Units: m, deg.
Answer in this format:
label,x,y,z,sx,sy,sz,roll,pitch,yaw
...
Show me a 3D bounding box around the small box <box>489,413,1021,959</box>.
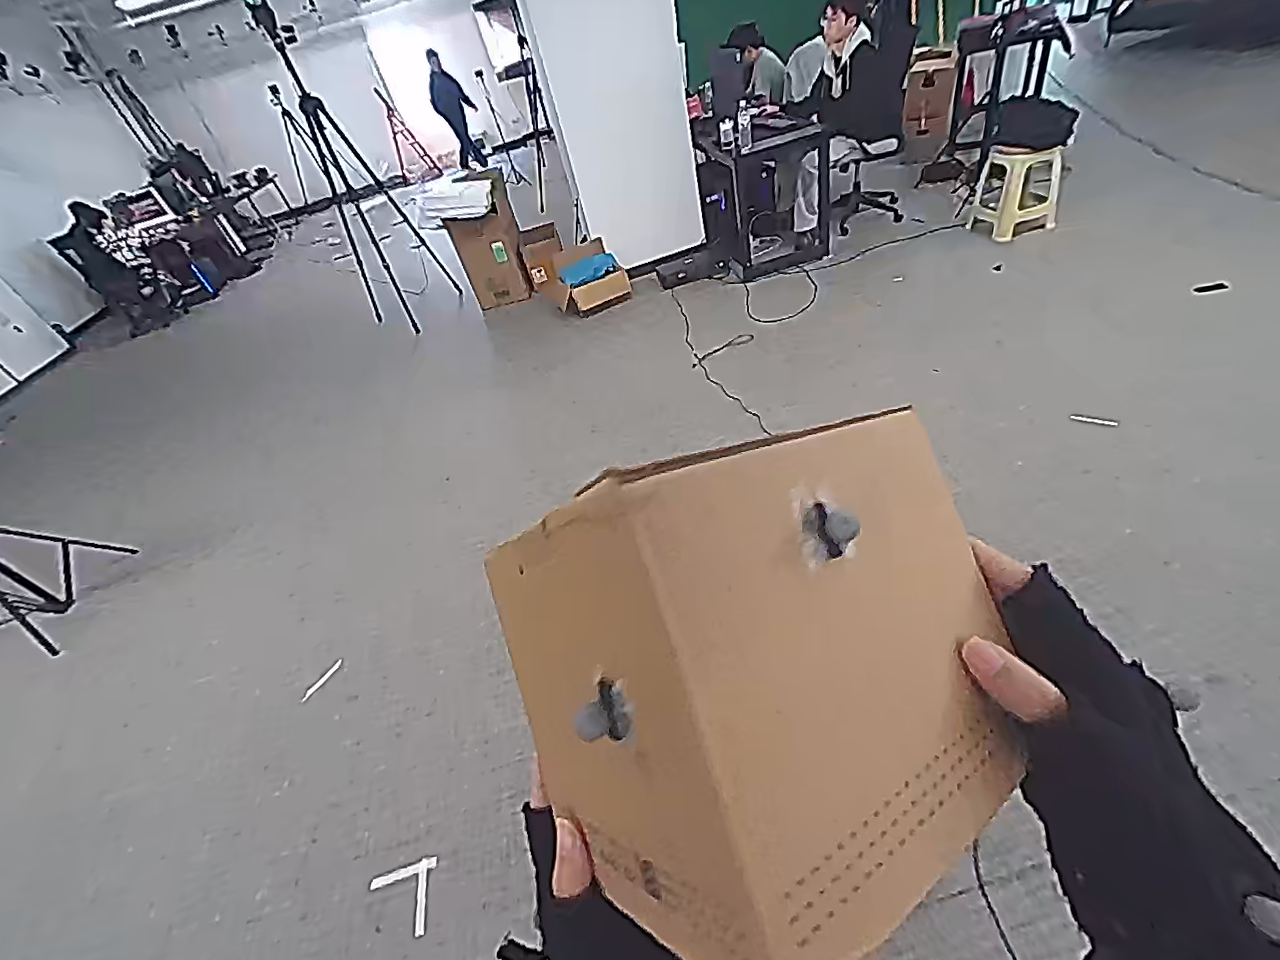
label,x,y,z,sx,sy,sz,roll,pitch,yaw
small box,0.046,0.086,0.273,0.179,0.176,0.168,-14,-8,-31
